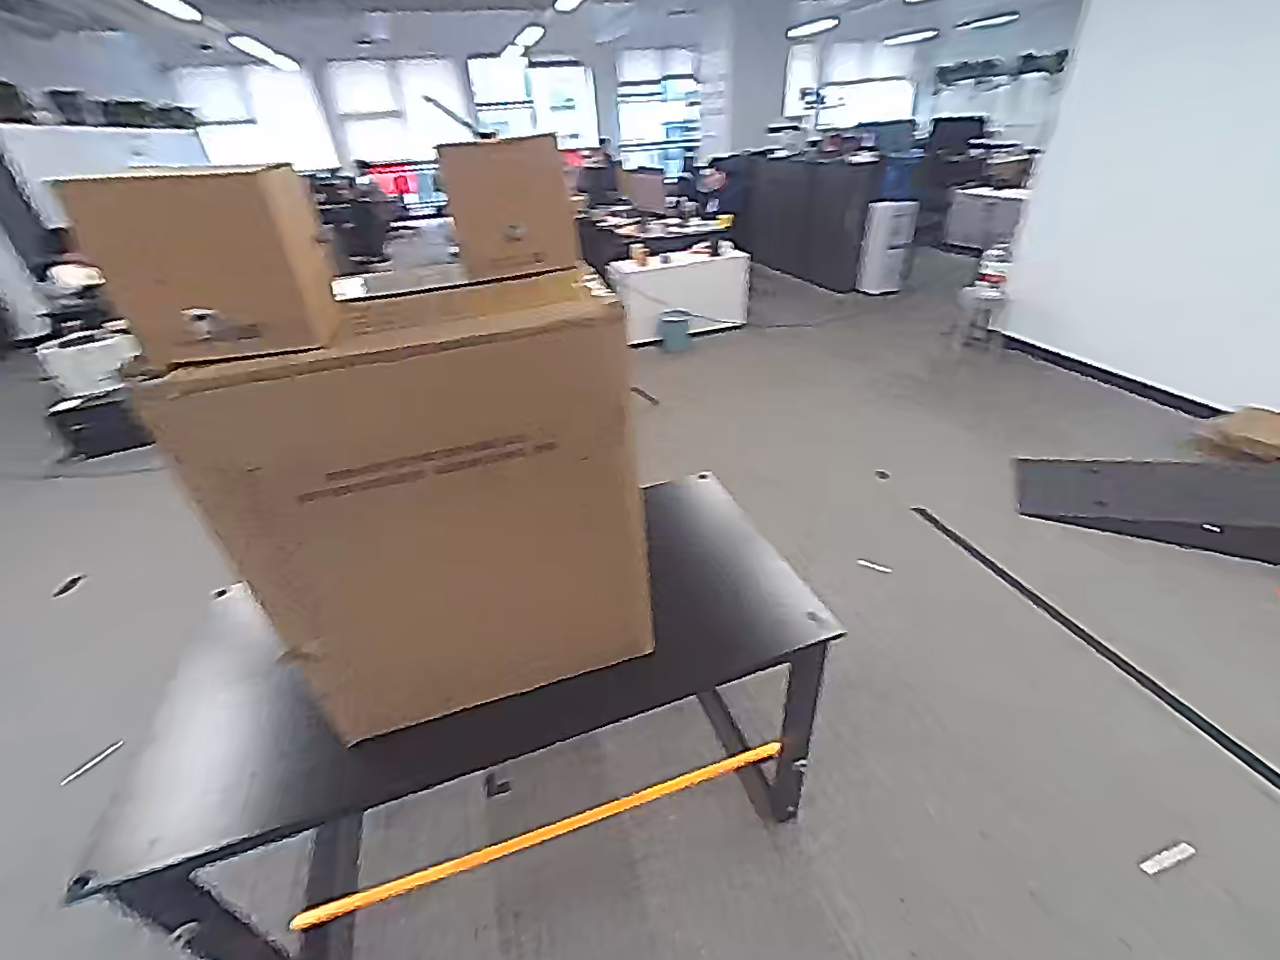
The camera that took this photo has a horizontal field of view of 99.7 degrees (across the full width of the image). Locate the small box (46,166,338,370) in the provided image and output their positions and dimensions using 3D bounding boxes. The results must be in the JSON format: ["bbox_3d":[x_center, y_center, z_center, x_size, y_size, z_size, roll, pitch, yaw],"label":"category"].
[{"bbox_3d":[-0.444,-0.232,0.579,0.168,0.176,0.179,-12,36,-15],"label":"small box"}]

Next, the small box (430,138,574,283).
[{"bbox_3d":[-0.205,-0.398,0.803,0.168,0.176,0.179,-15,32,-13],"label":"small box"}]
